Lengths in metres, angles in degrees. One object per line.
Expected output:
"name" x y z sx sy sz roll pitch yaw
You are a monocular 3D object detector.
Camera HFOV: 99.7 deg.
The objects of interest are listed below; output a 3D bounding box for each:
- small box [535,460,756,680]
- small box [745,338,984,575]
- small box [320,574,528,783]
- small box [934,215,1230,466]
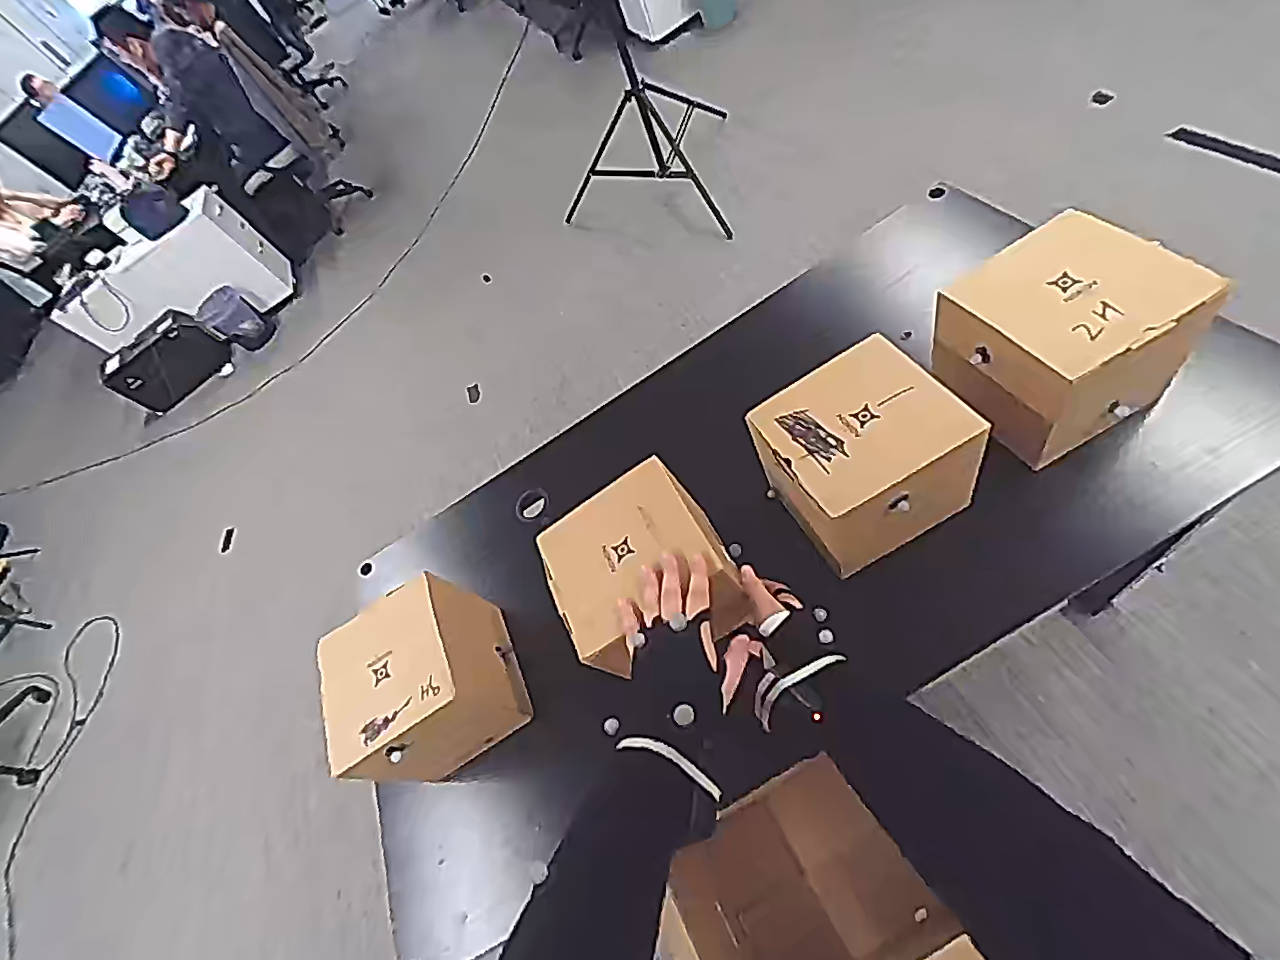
"small box" 0.010 0.115 0.641 0.179 0.176 0.168 -35 54 6
"small box" 0.249 -0.018 0.620 0.179 0.176 0.168 -31 53 3
"small box" -0.270 0.257 0.687 0.168 0.176 0.179 -33 53 2
"small box" 0.457 -0.148 0.603 0.168 0.176 0.179 -32 53 5
